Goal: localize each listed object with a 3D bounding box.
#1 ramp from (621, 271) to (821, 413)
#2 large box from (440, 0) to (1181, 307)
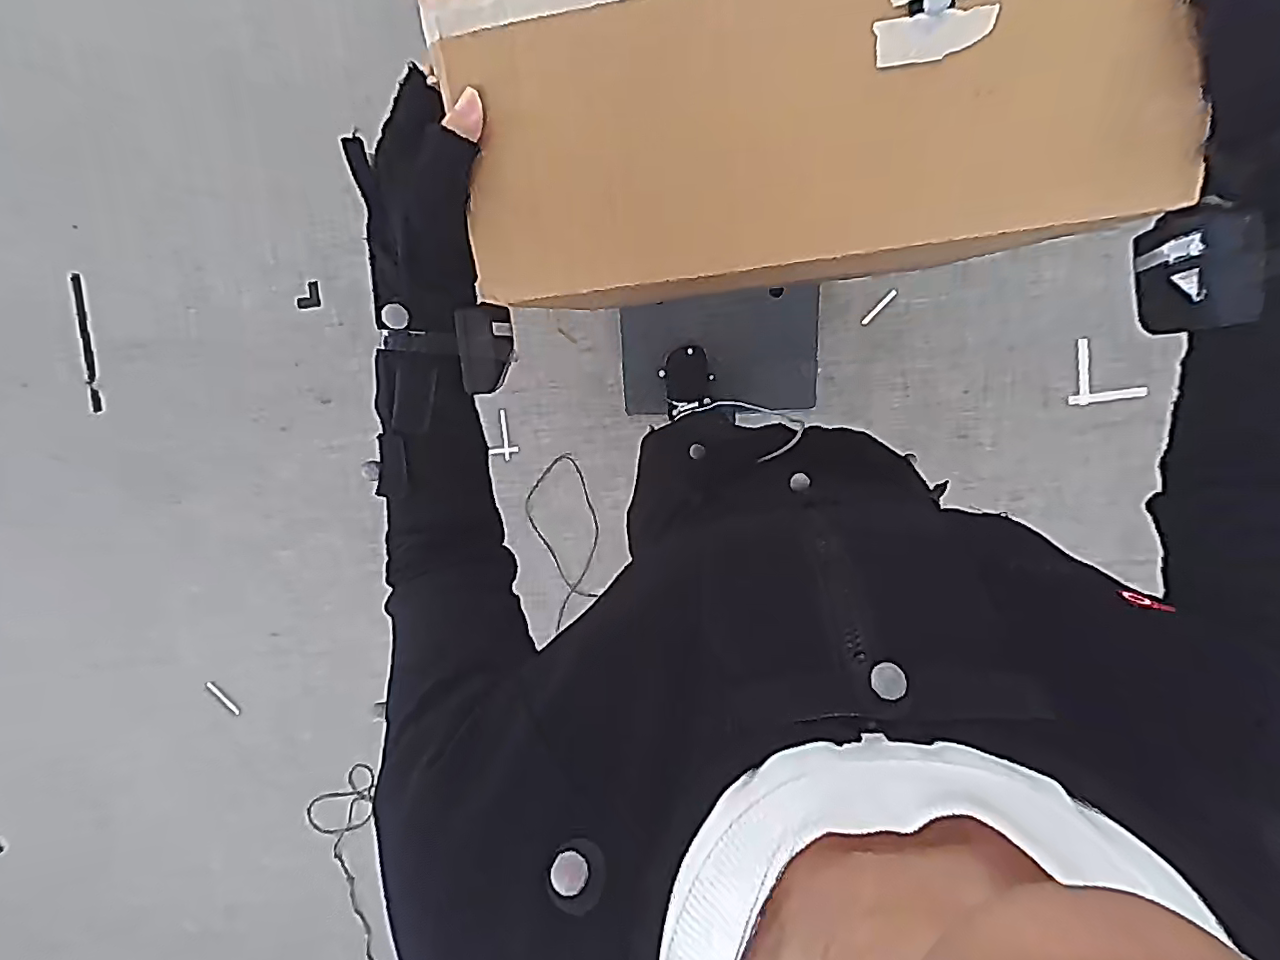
[{"bbox_3d":[0.182,-0.662,1.272,0.509,0.206,0.991,-3,97,6],"label":"ramp"},{"bbox_3d":[0.092,-0.331,0.436,0.408,0.320,0.320,-6,106,8],"label":"large box"}]
